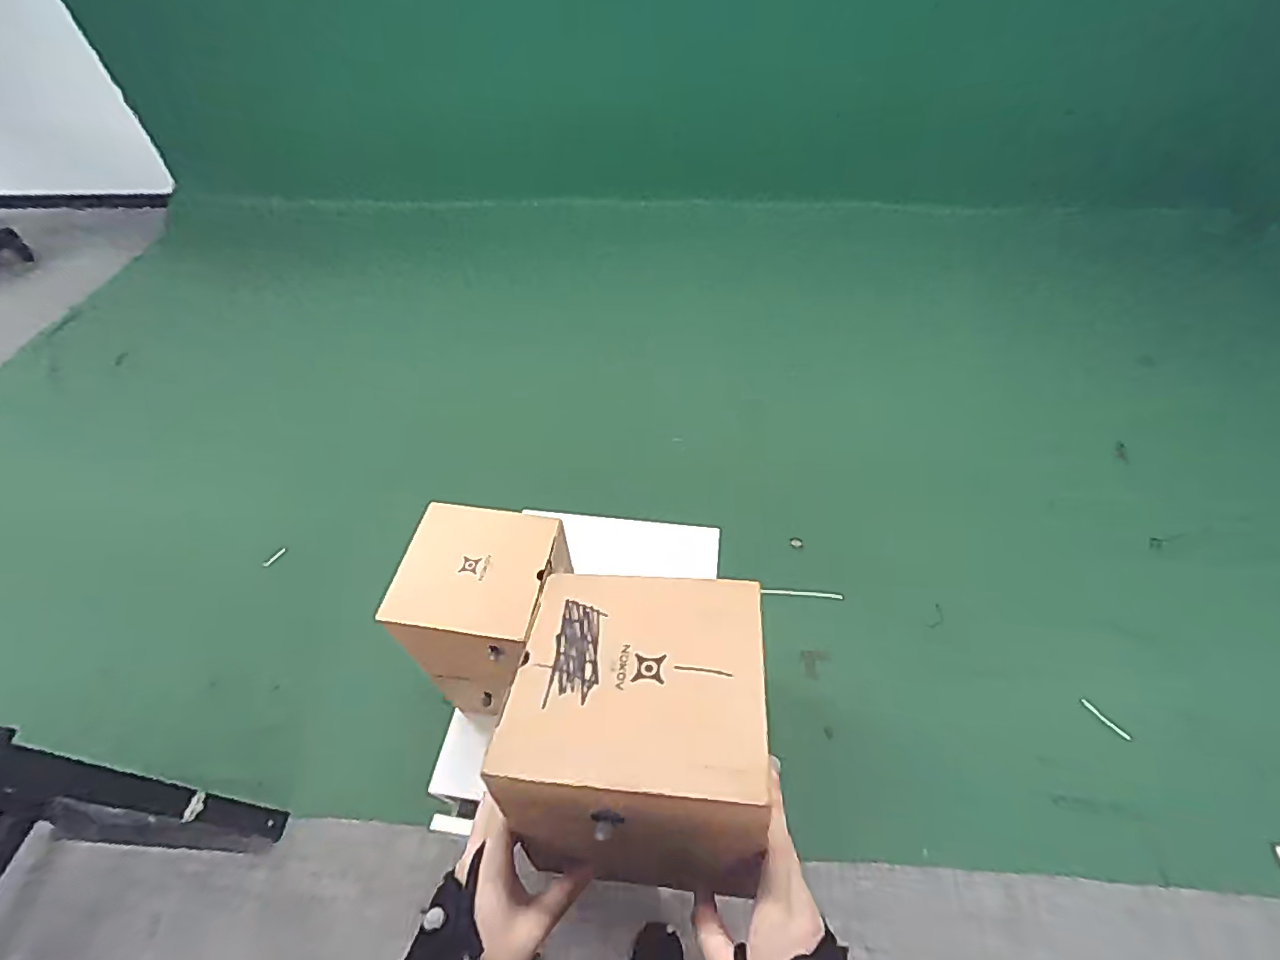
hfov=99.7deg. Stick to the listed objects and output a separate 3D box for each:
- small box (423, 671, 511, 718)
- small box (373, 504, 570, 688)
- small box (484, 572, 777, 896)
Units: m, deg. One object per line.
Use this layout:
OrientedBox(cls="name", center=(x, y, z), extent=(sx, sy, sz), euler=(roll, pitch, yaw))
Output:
OrientedBox(cls="small box", center=(-0.191, 0.256, 0.815), extent=(0.179, 0.176, 0.168), euler=(4, 51, 5))
OrientedBox(cls="small box", center=(-0.195, 0.152, 0.689), extent=(0.179, 0.176, 0.168), euler=(6, 51, 5))
OrientedBox(cls="small box", center=(0.009, 0.191, 0.418), extent=(0.179, 0.176, 0.168), euler=(1, 38, 9))
